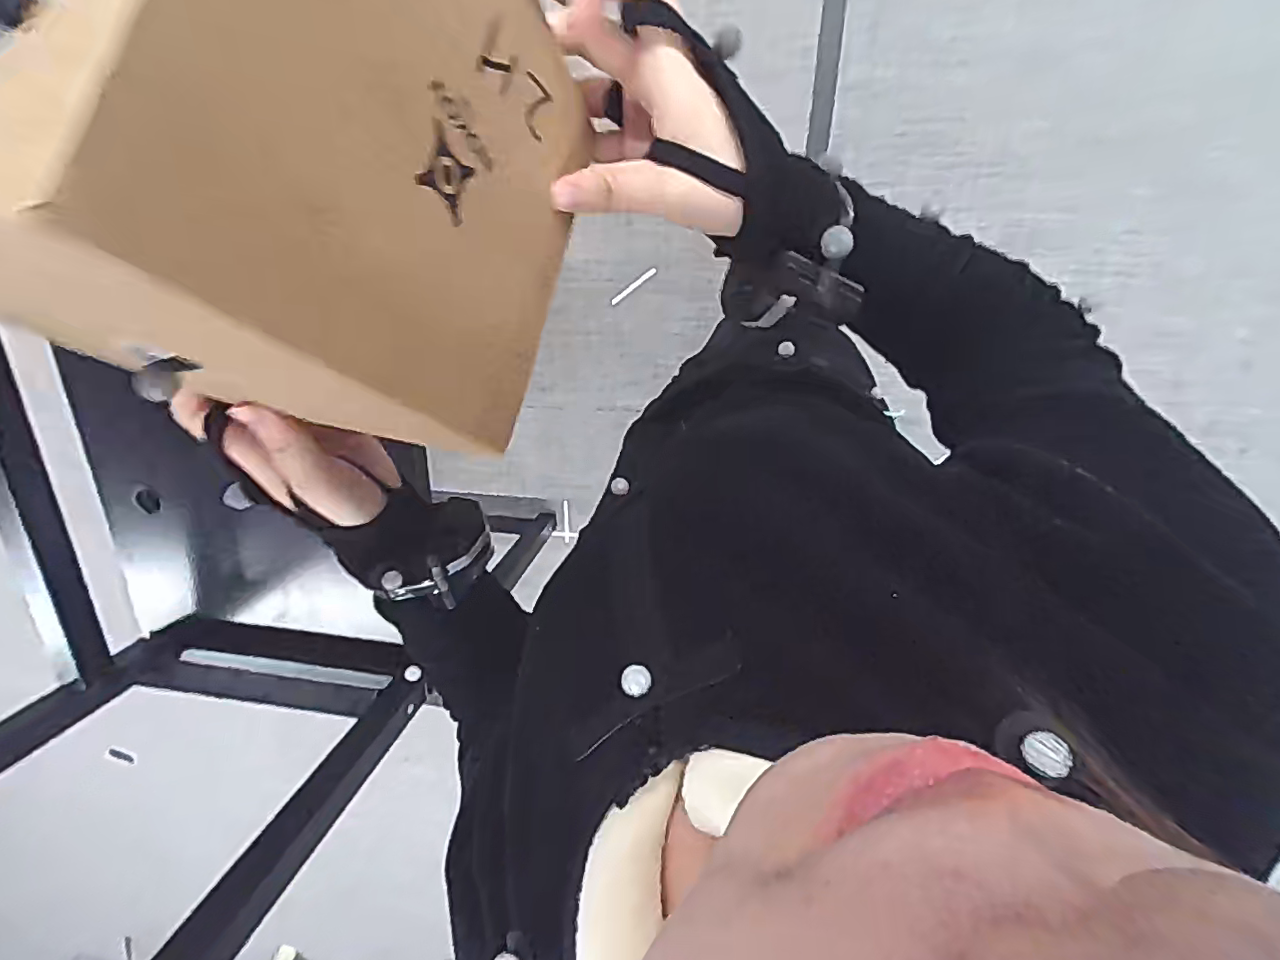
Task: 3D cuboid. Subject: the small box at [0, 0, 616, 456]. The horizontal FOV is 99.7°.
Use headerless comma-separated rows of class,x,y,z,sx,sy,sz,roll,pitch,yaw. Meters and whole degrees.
small box,-0.130,-0.127,0.205,0.176,0.168,0.179,12,80,17
